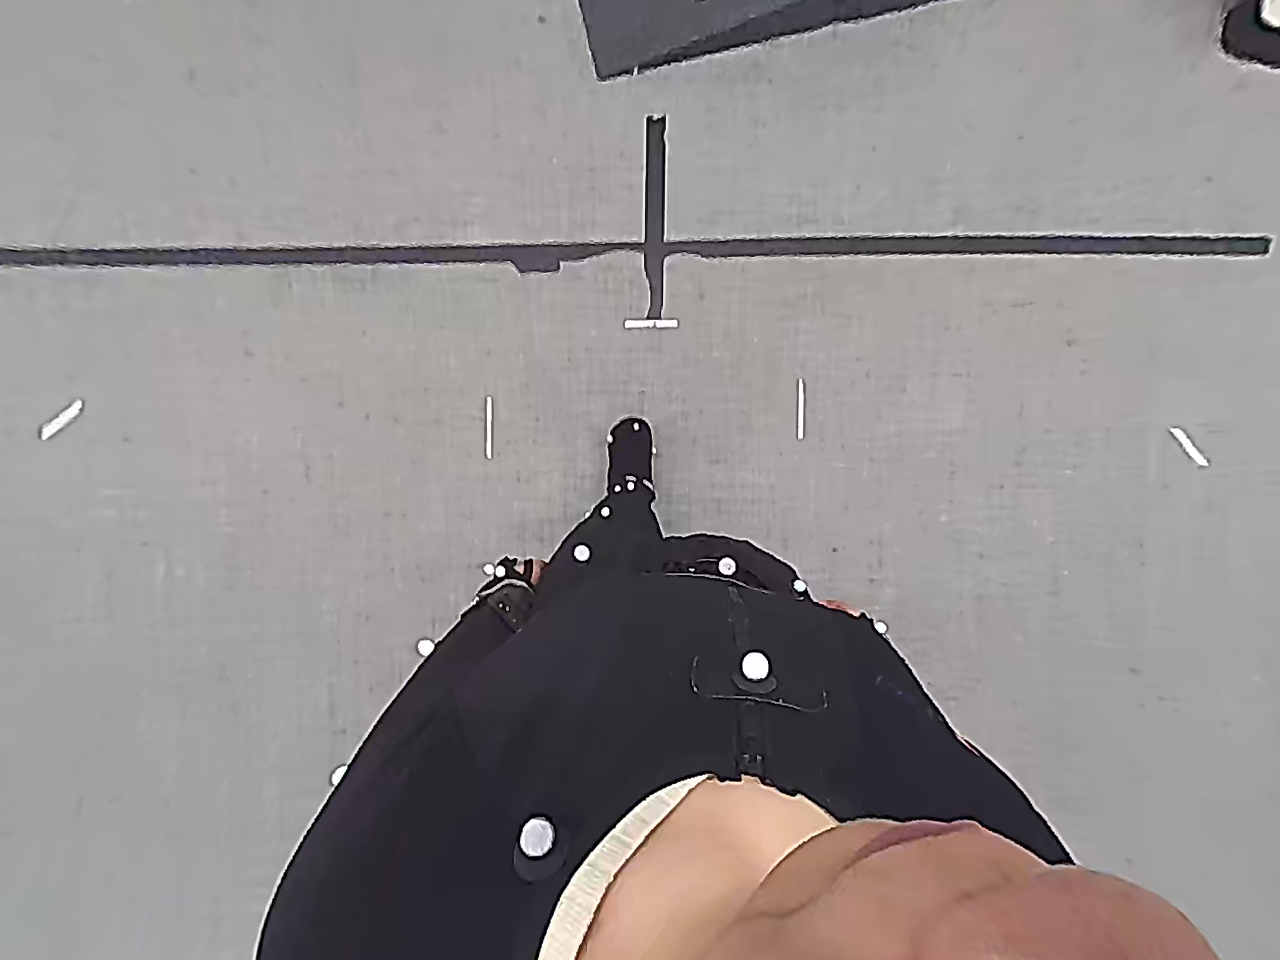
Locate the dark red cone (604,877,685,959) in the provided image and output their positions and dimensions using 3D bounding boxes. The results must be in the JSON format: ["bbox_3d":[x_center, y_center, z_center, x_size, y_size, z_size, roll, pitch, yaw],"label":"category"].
[{"bbox_3d":[0.011,1.087,1.181,0.201,0.394,0.202,-1,90,0],"label":"dark red cone"}]
